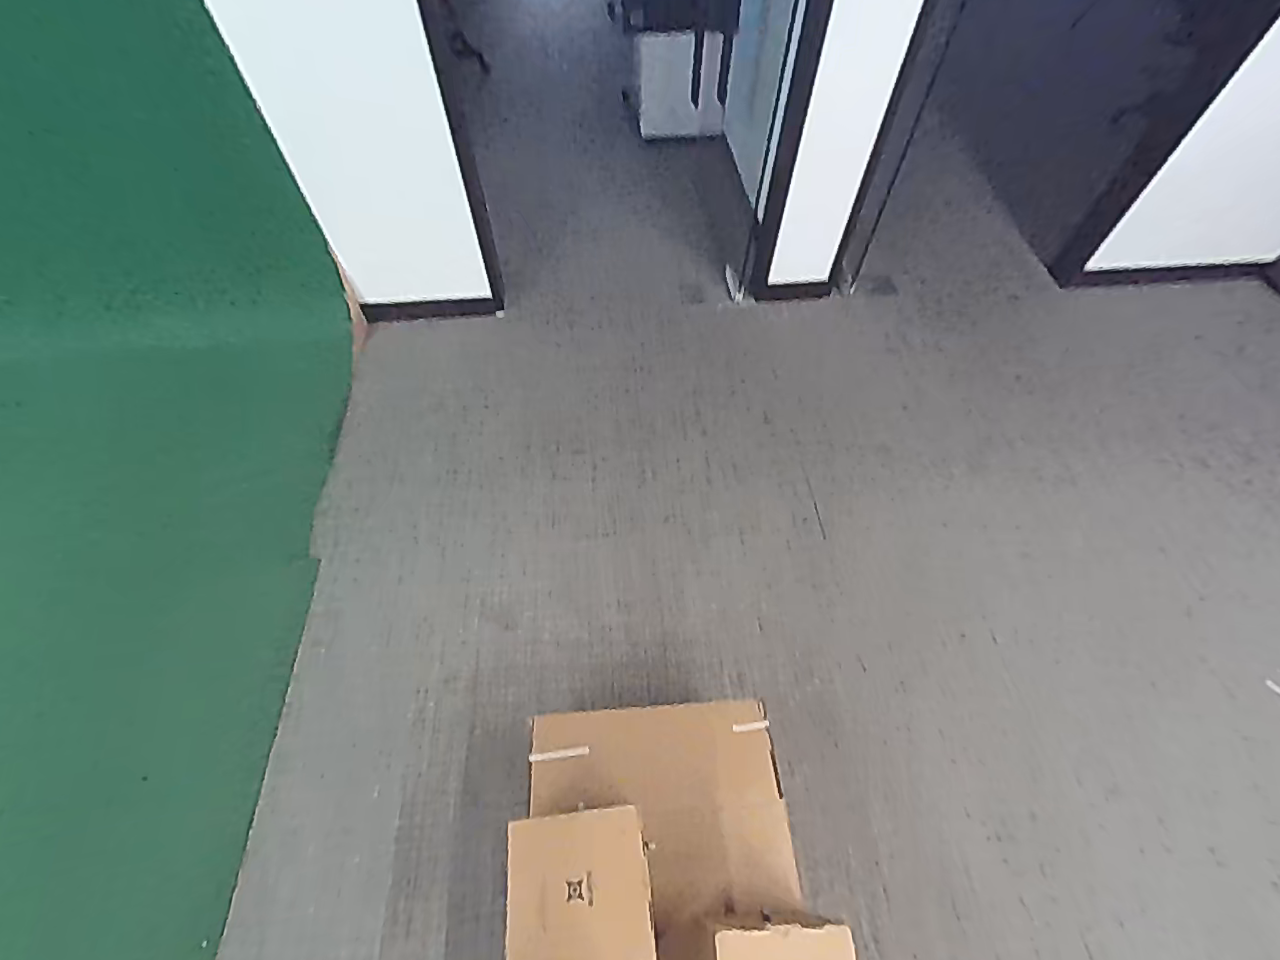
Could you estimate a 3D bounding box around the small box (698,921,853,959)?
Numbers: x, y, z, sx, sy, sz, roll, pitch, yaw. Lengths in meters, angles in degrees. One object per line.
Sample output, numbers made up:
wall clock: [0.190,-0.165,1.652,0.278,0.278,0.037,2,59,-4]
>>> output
small box: [0.165,0.651,0.658,0.168,0.176,0.179,0,54,-2]

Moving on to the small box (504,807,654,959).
small box: [-0.078,0.552,0.730,0.179,0.176,0.168,-5,53,-3]
